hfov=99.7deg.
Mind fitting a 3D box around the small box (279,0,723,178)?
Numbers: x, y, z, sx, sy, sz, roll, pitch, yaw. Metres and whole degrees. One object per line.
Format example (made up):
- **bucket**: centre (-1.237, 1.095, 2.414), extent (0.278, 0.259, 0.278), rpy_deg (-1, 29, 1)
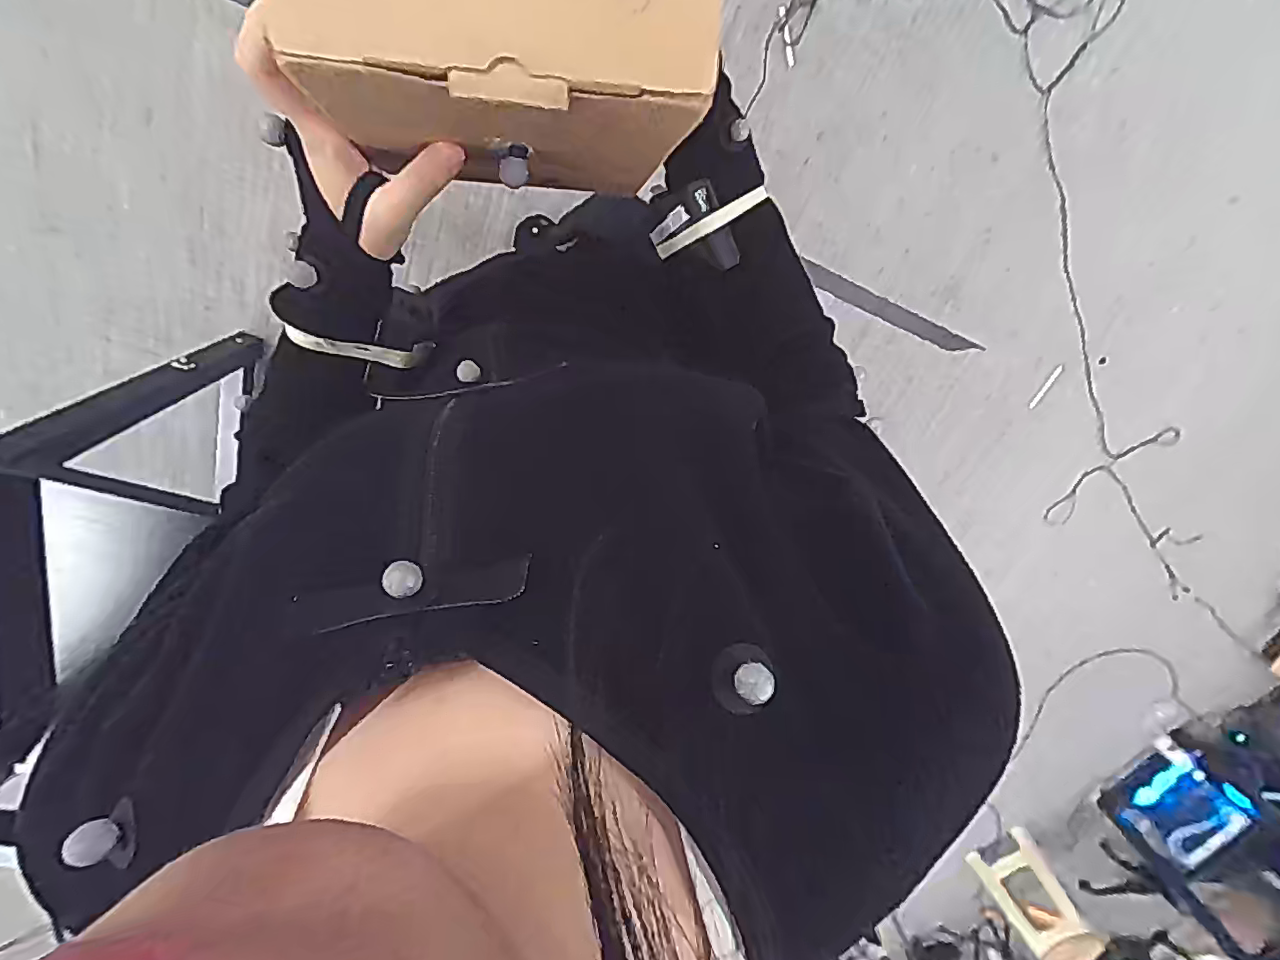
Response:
- **small box**: centre (-0.060, -0.260, 0.259), extent (0.168, 0.176, 0.179), rpy_deg (-2, 108, -12)
